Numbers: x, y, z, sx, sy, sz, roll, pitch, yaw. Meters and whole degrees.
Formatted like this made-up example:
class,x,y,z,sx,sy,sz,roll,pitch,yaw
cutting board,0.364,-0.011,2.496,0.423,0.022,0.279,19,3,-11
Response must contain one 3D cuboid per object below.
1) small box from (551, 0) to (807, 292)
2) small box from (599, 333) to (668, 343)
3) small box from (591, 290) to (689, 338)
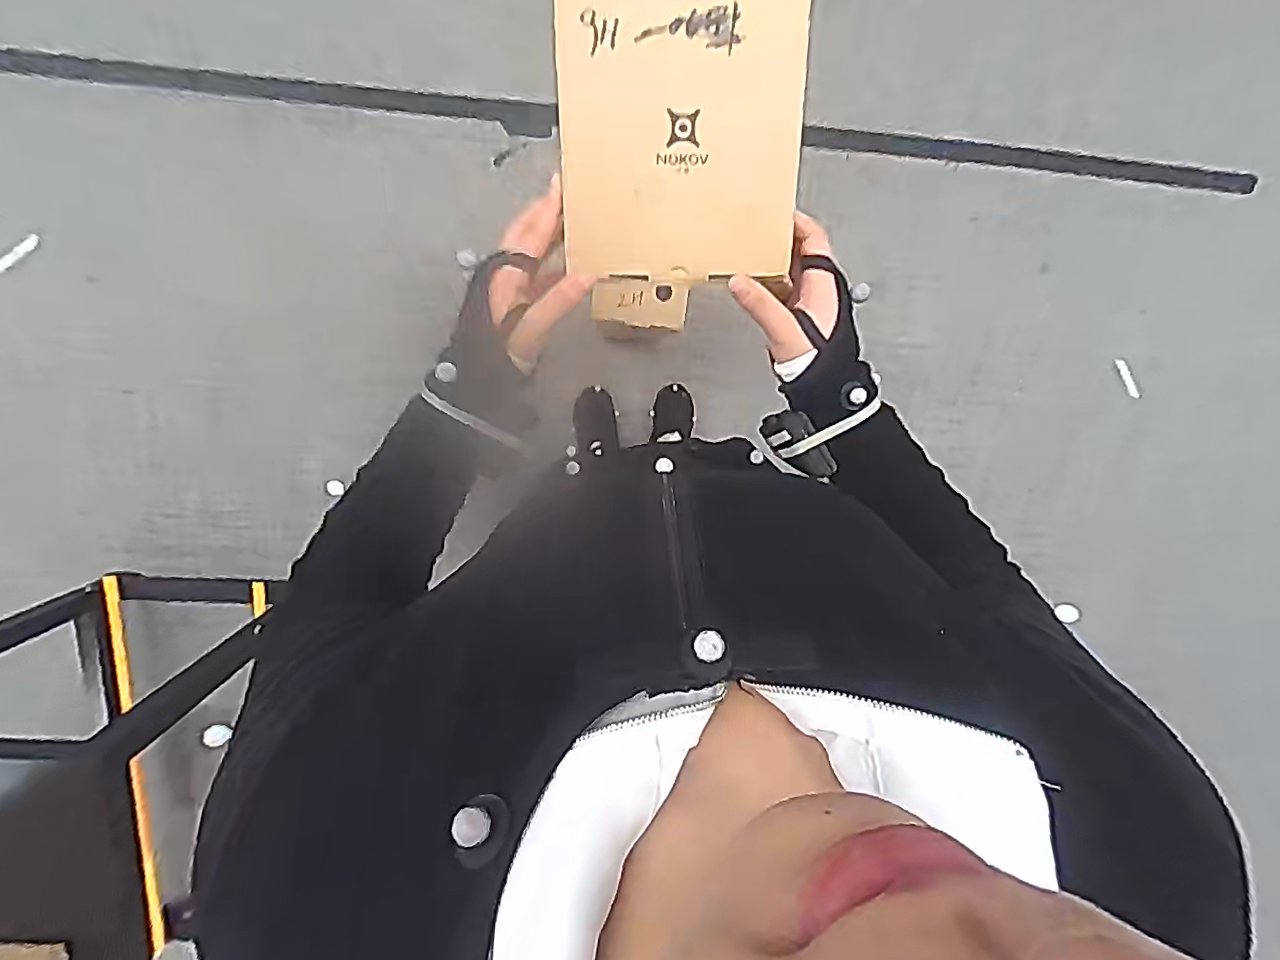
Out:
class,x,y,z,sx,sy,sz,roll,pitch,yaw
small box,0.022,-0.249,0.442,0.168,0.176,0.179,-2,110,-3
small box,-0.019,-0.431,1.325,0.168,0.176,0.179,-1,103,-2
small box,0.001,-0.365,1.003,0.168,0.176,0.179,6,102,-4
